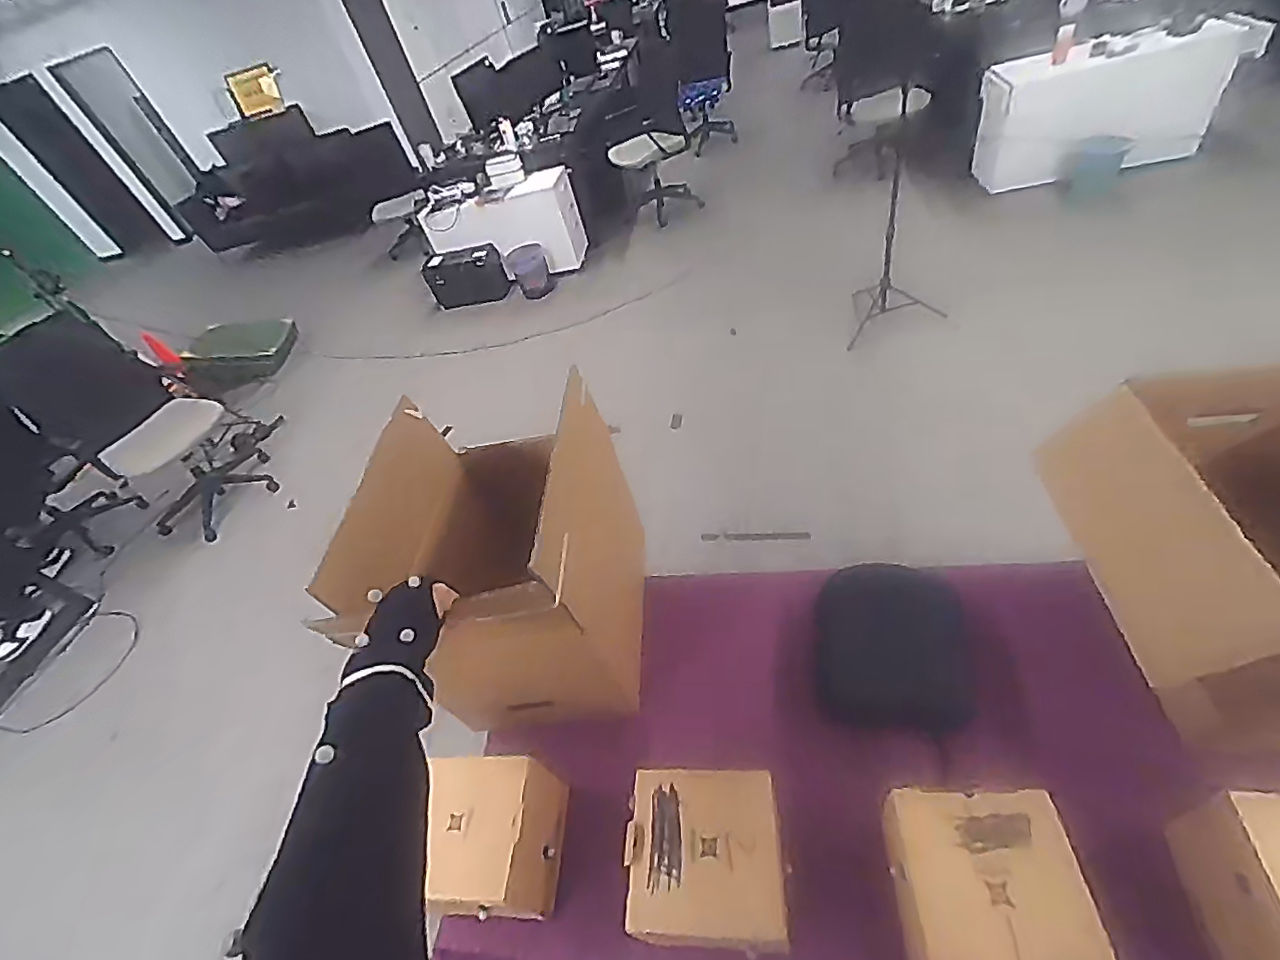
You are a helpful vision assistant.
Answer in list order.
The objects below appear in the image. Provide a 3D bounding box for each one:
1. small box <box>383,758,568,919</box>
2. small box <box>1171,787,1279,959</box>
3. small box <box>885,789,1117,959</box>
[{"bbox_3d":[-0.220,0.513,0.773,0.179,0.176,0.168,-7,45,11],"label":"small box"},{"bbox_3d":[0.690,0.436,0.536,0.168,0.176,0.179,-2,47,19],"label":"small box"},{"bbox_3d":[0.385,0.469,0.610,0.168,0.176,0.179,-7,46,13],"label":"small box"}]
